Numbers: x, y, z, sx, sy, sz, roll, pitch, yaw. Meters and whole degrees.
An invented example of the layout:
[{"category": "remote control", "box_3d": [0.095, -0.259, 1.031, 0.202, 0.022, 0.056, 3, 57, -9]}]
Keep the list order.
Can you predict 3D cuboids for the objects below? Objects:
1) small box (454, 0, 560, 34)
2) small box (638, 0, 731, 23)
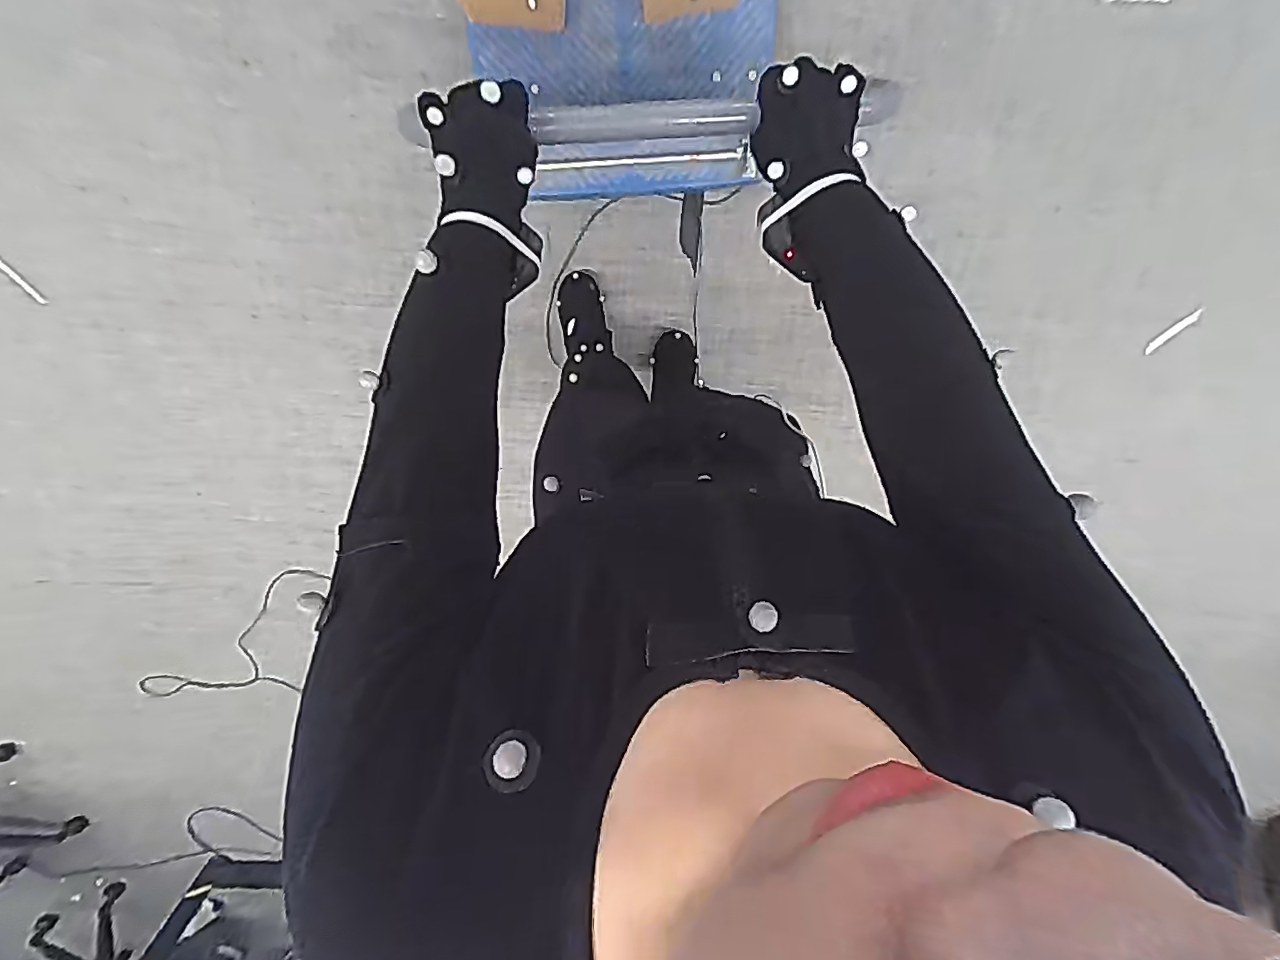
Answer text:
[{"category": "small box", "box_3d": [-0.229, -0.876, 0.896, 0.179, 0.176, 0.168, 1, 111, -4]}, {"category": "small box", "box_3d": [0.075, -0.900, 0.895, 0.179, 0.176, 0.168, -10, 112, 2]}]
